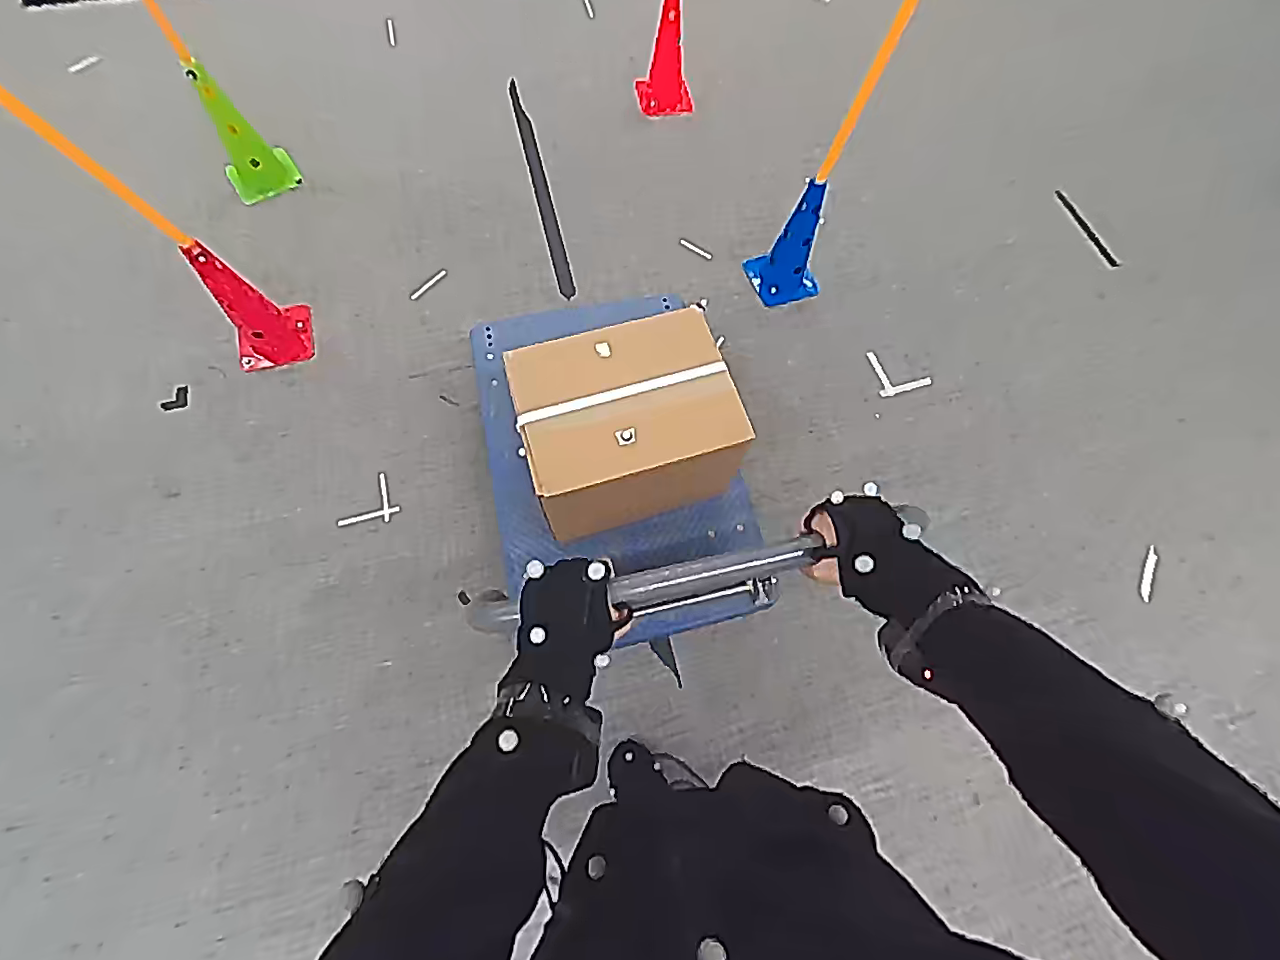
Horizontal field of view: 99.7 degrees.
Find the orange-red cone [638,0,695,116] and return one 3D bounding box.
[{"bbox_3d":[0.109,-1.509,1.882,0.199,0.360,0.198,-7,69,-7],"label":"orange-red cone"}]

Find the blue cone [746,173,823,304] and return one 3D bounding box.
[{"bbox_3d":[0.466,-0.720,1.601,0.193,0.380,0.192,-17,69,-10],"label":"blue cone"}]
